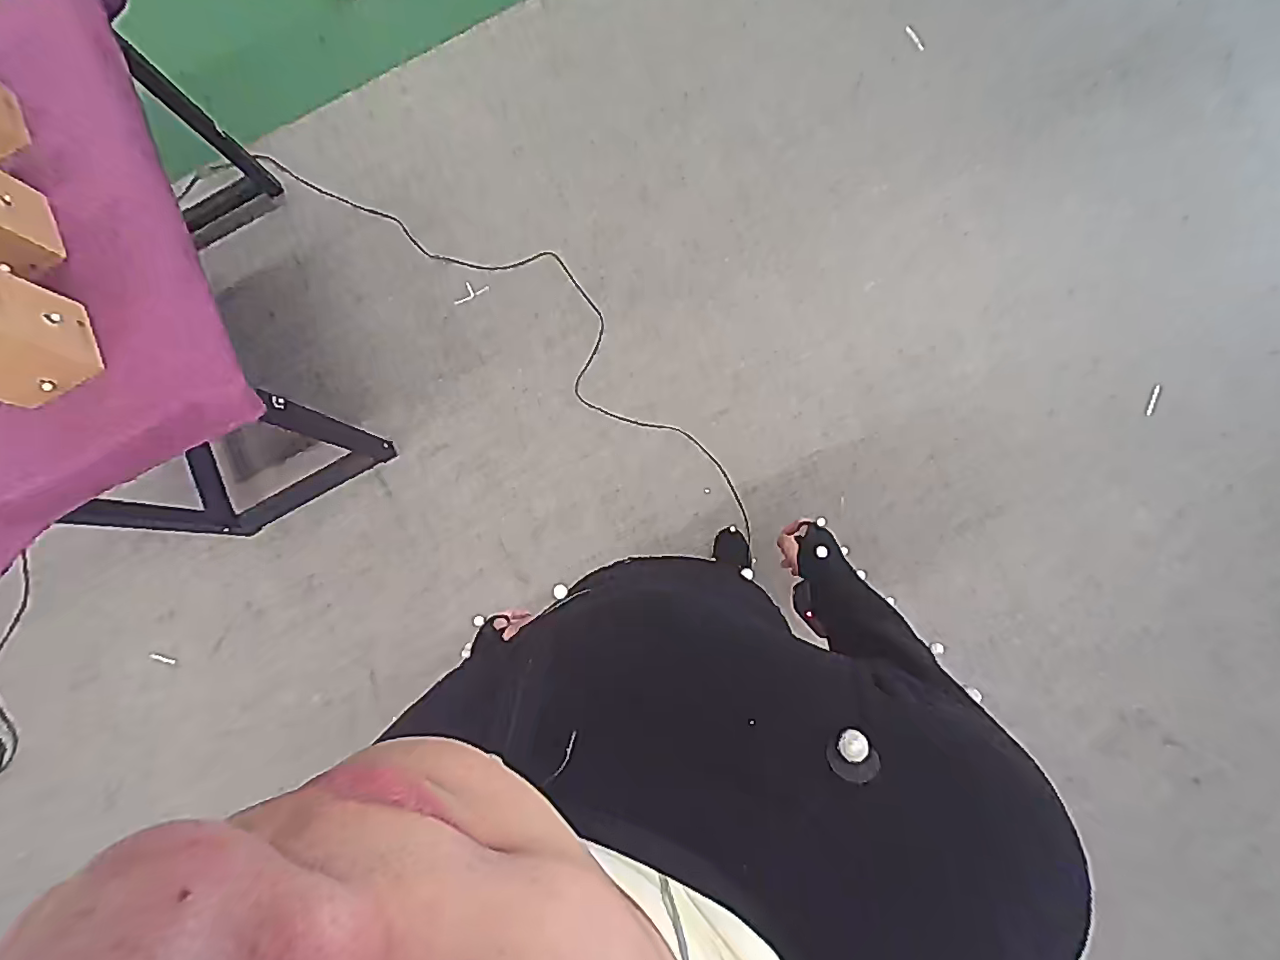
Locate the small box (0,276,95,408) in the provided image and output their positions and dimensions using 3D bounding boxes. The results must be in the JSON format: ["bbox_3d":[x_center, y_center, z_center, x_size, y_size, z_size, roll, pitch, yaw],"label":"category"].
[{"bbox_3d":[-1.206,-0.263,1.033,0.179,0.176,0.168,-29,79,0],"label":"small box"}]

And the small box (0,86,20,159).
[{"bbox_3d":[-1.487,-0.794,1.146,0.179,0.176,0.168,-28,79,1],"label":"small box"}]

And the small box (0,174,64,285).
[{"bbox_3d":[-1.338,-0.517,1.087,0.168,0.176,0.179,-29,80,1],"label":"small box"}]
